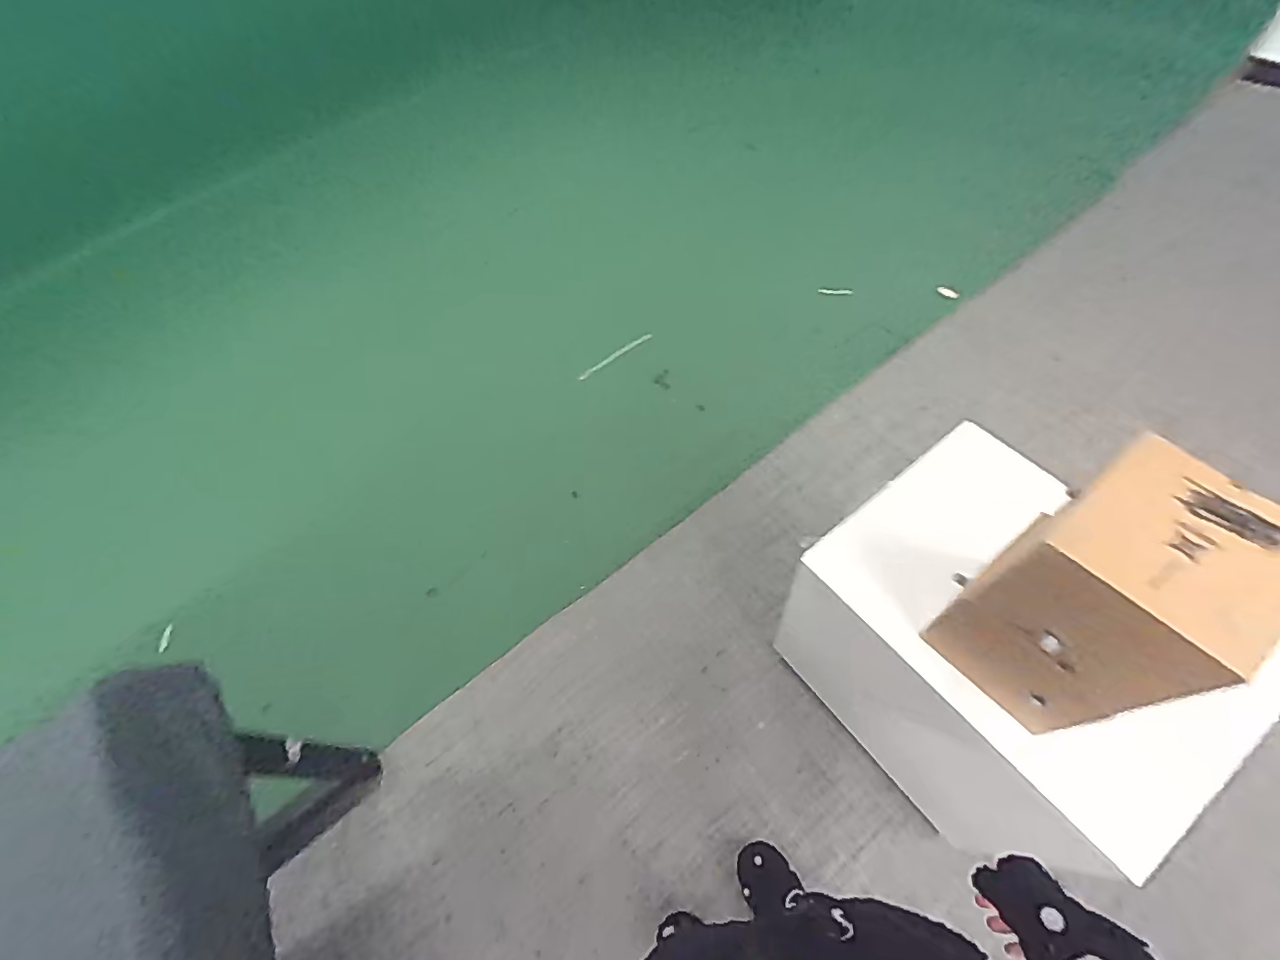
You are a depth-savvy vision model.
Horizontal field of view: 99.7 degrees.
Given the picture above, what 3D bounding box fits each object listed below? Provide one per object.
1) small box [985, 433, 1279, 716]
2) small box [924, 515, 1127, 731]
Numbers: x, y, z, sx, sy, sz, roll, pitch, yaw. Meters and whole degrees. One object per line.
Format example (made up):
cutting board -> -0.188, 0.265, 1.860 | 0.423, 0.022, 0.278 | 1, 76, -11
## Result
small box -> 0.481, 0.095, 0.523 | 0.179, 0.176, 0.168 | -39, 62, -17
small box -> 0.493, 0.182, 0.662 | 0.168, 0.176, 0.179 | -38, 60, -15
